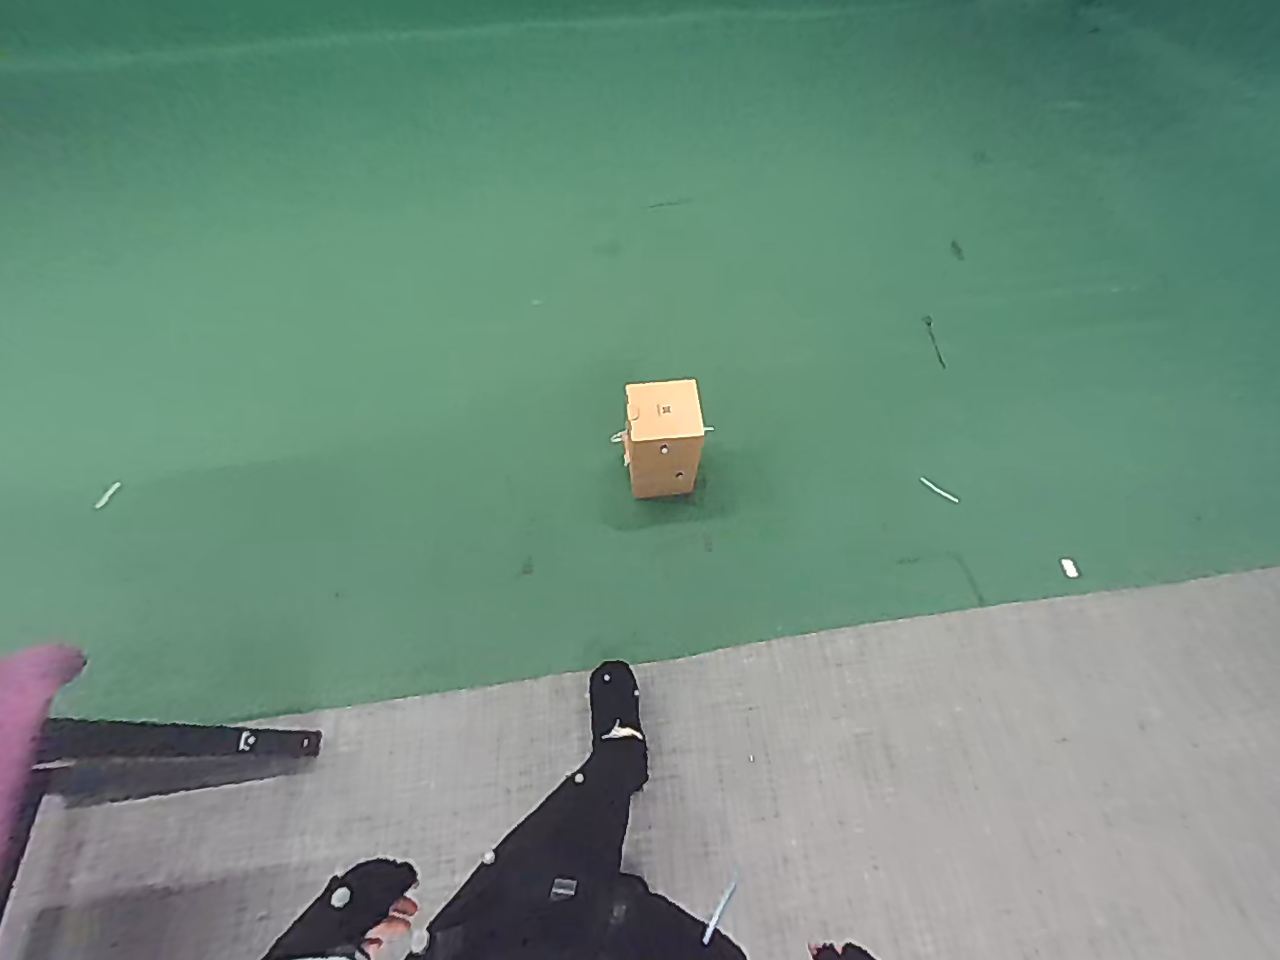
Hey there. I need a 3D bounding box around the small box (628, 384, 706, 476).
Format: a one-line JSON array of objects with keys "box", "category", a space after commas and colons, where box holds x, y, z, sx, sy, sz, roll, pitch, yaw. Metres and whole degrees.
[{"box": [0.060, -0.123, 1.369, 0.179, 0.176, 0.168, -5, 63, -3], "category": "small box"}]

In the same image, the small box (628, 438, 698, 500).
[{"box": [0.058, -0.055, 1.517, 0.179, 0.176, 0.168, -5, 63, -3], "category": "small box"}]
